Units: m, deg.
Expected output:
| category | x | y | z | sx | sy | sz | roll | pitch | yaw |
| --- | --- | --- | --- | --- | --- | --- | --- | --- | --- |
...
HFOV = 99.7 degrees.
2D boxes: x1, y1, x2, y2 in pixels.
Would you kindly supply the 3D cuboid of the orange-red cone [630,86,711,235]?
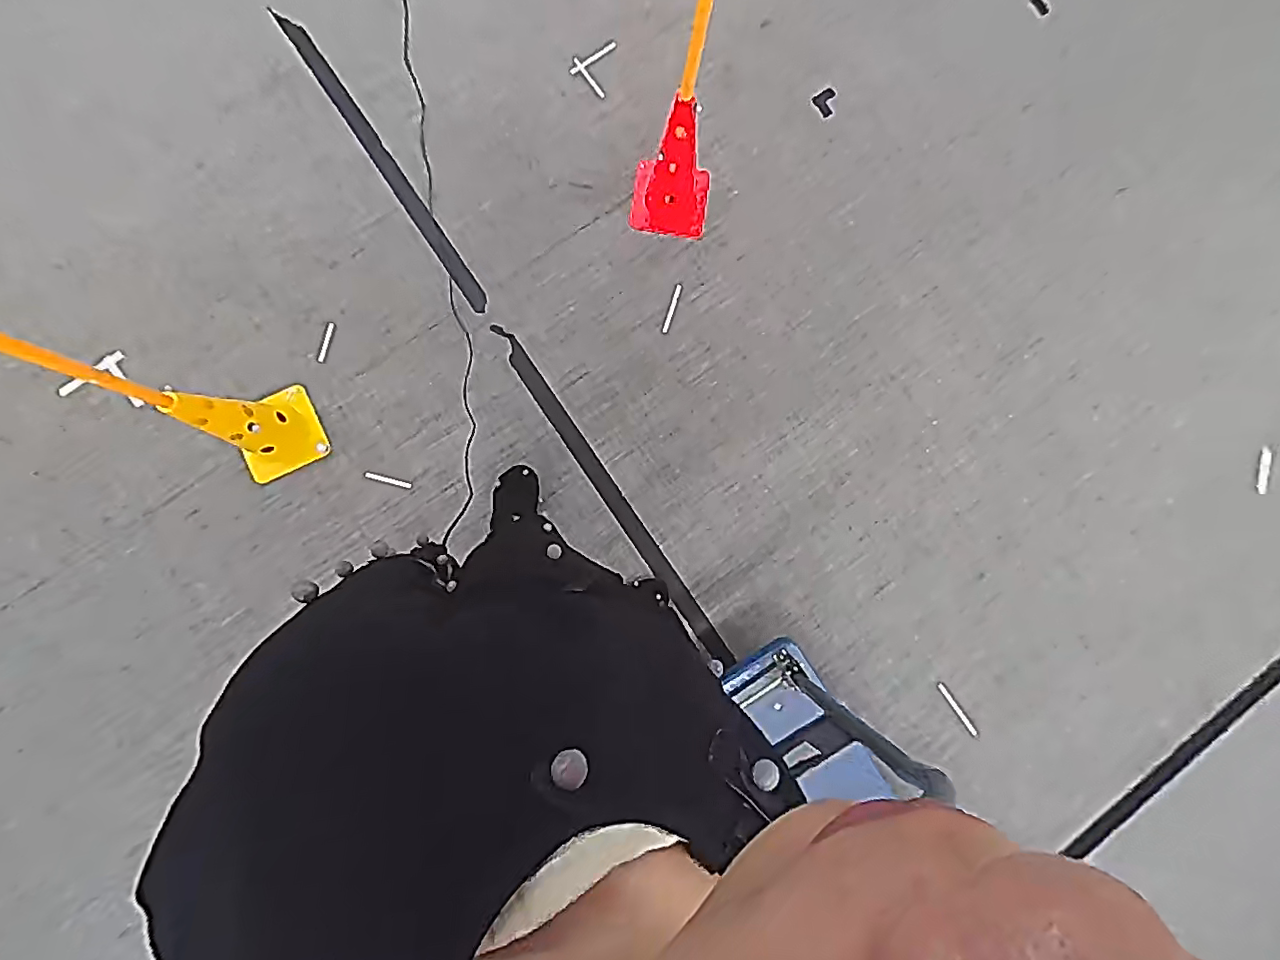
| category | x | y | z | sx | sy | sz | roll | pitch | yaw |
| --- | --- | --- | --- | --- | --- | --- | --- | --- | --- |
| orange-red cone | 0.087 | -0.781 | 1.291 | 0.198 | 0.360 | 0.199 | 10 | 85 | 0 |
